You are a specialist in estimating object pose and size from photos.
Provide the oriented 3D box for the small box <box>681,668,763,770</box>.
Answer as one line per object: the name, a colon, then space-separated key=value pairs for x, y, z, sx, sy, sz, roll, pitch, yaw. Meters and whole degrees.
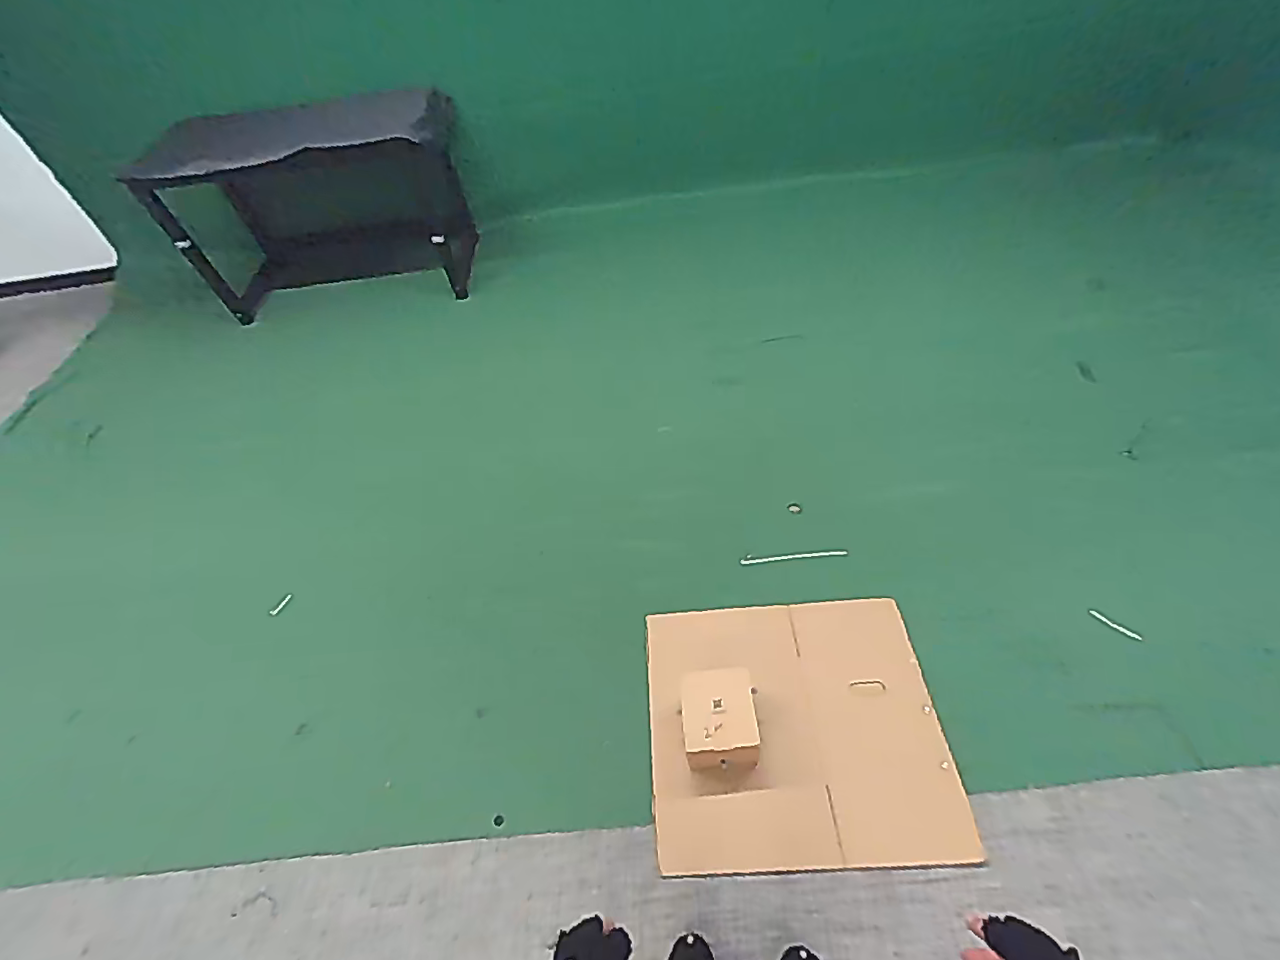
small box: x=0.190 y=0.565 z=1.277 sx=0.168 sy=0.176 sz=0.179 roll=-7 pitch=51 yaw=4
